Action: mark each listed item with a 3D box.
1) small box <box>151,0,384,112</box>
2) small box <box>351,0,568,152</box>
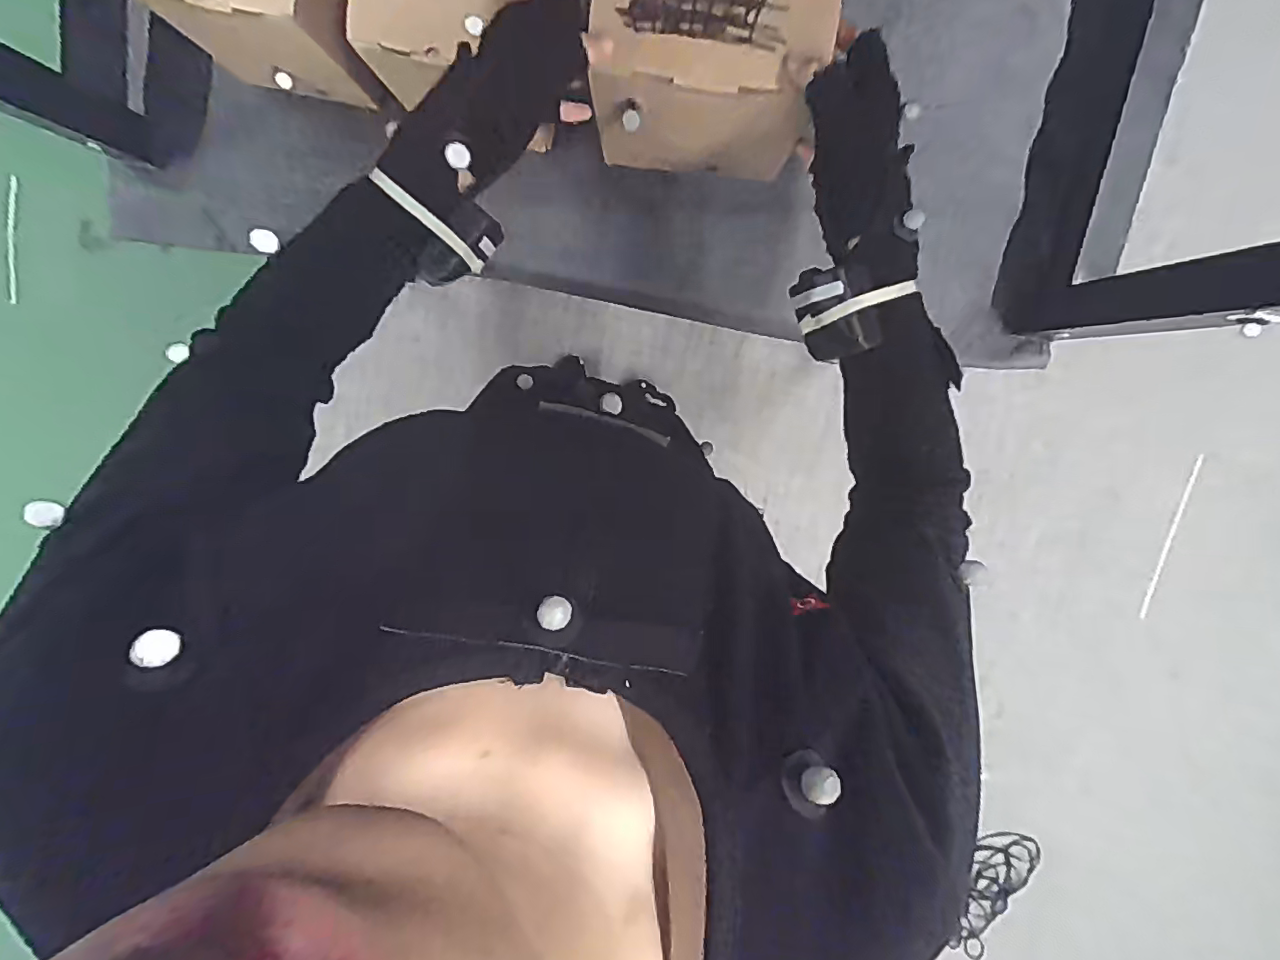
[{"bbox_3d":[-0.379,-0.532,0.563,0.168,0.176,0.179,11,100,-2],"label":"small box"},{"bbox_3d":[-0.176,-0.489,0.574,0.168,0.176,0.179,11,101,-2],"label":"small box"}]
